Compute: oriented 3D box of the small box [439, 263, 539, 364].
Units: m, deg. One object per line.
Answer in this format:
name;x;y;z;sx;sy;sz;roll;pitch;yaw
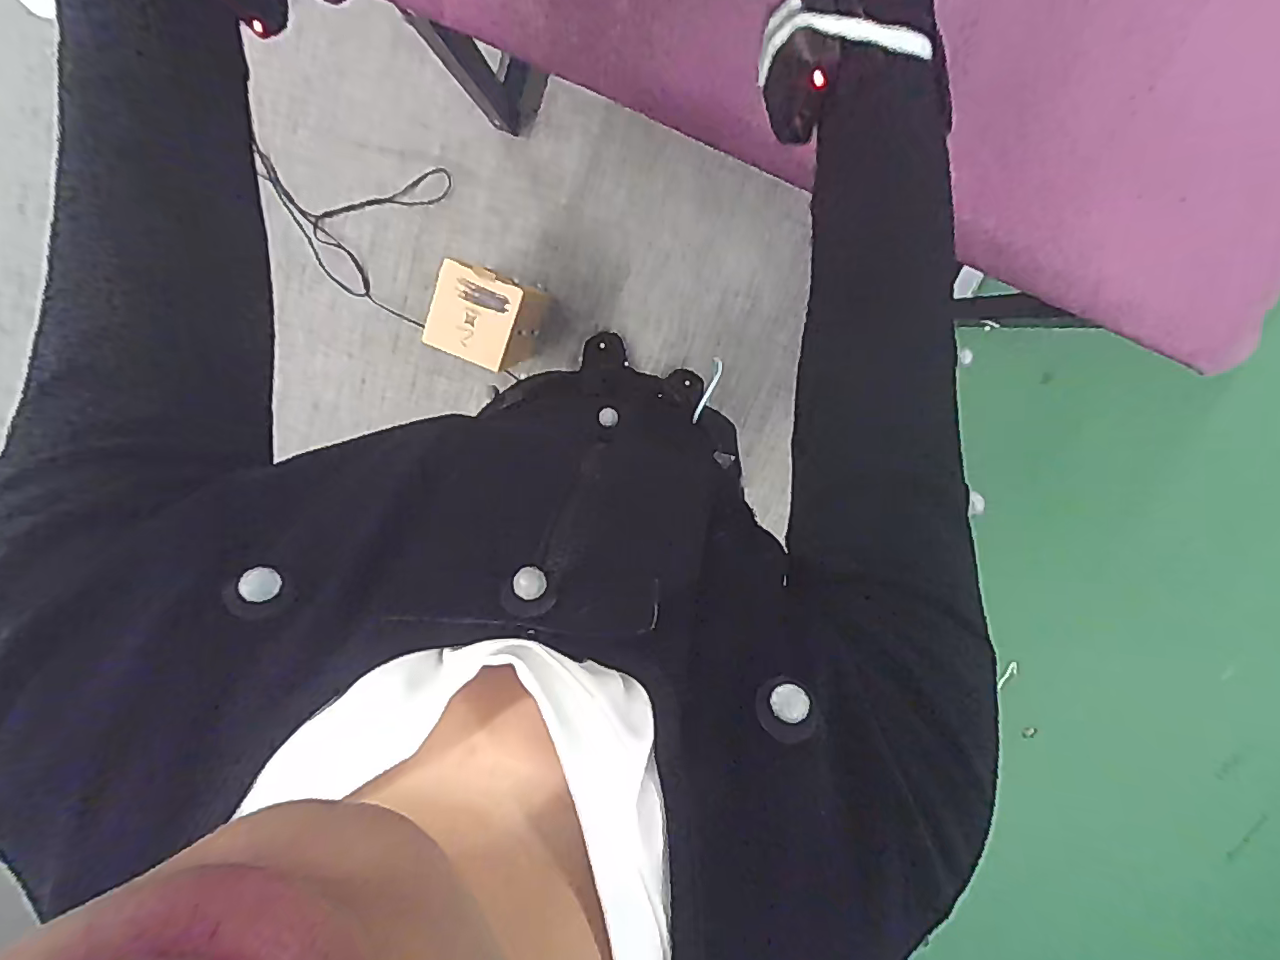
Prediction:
small box;-0.355;-0.401;1.308;0.168;0.176;0.179;23;106;-6
